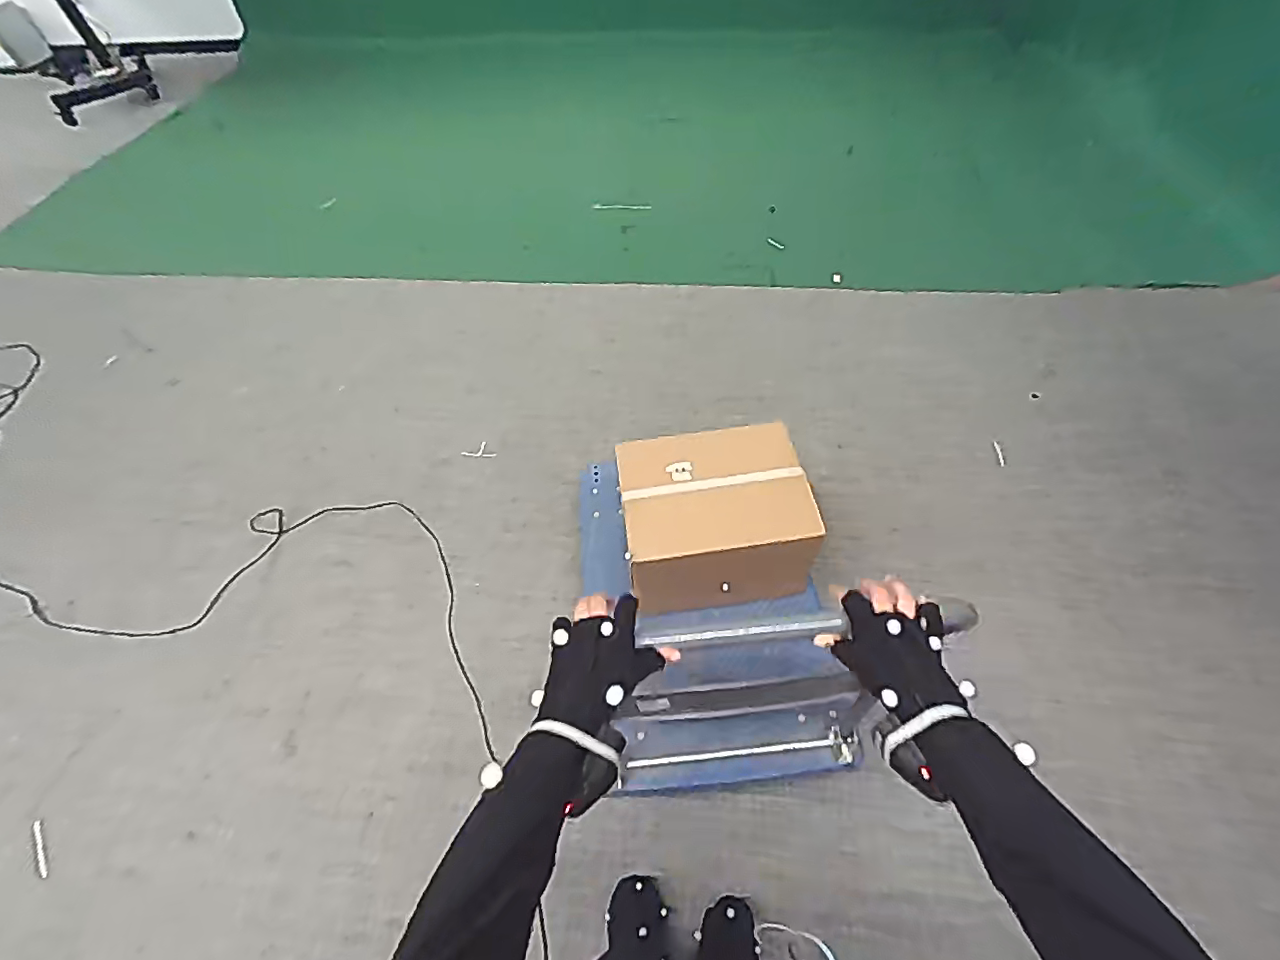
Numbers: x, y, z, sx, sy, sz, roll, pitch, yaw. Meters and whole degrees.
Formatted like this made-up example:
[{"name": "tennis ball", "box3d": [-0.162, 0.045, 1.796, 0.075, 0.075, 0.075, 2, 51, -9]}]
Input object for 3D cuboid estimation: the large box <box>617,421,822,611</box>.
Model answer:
[{"name": "large box", "box3d": [0.171, 0.096, 1.314, 0.408, 0.320, 0.320, -8, 54, -2]}]
